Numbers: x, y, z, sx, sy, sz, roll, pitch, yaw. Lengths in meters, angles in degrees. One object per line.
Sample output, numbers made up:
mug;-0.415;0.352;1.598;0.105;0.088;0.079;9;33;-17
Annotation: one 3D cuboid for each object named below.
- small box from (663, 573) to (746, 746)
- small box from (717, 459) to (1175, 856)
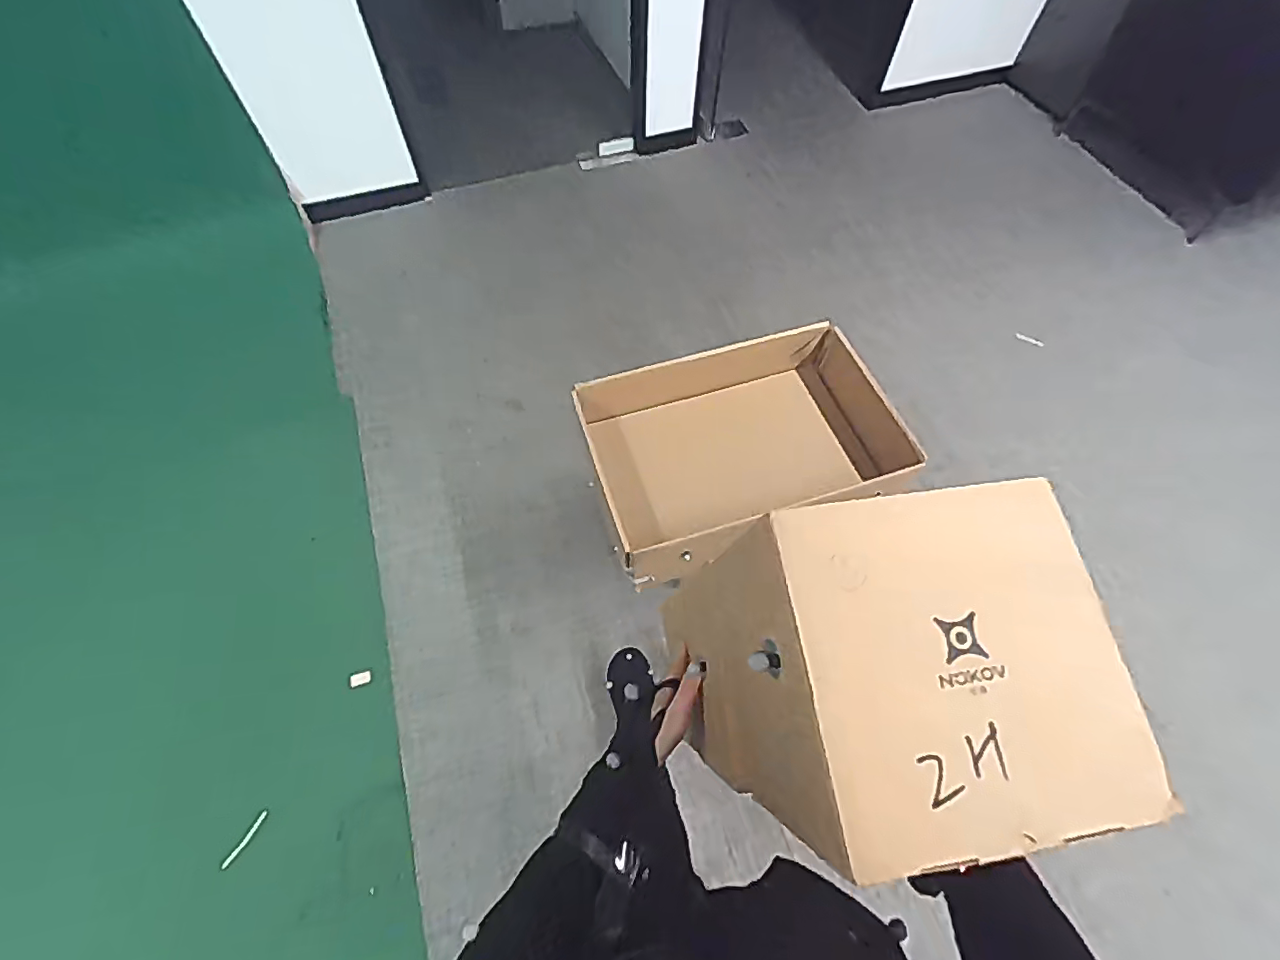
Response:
small box;0.126;0.206;0.657;0.168;0.176;0.179;-5;73;-7
small box;0.154;0.102;0.346;0.168;0.176;0.179;-6;72;-6
